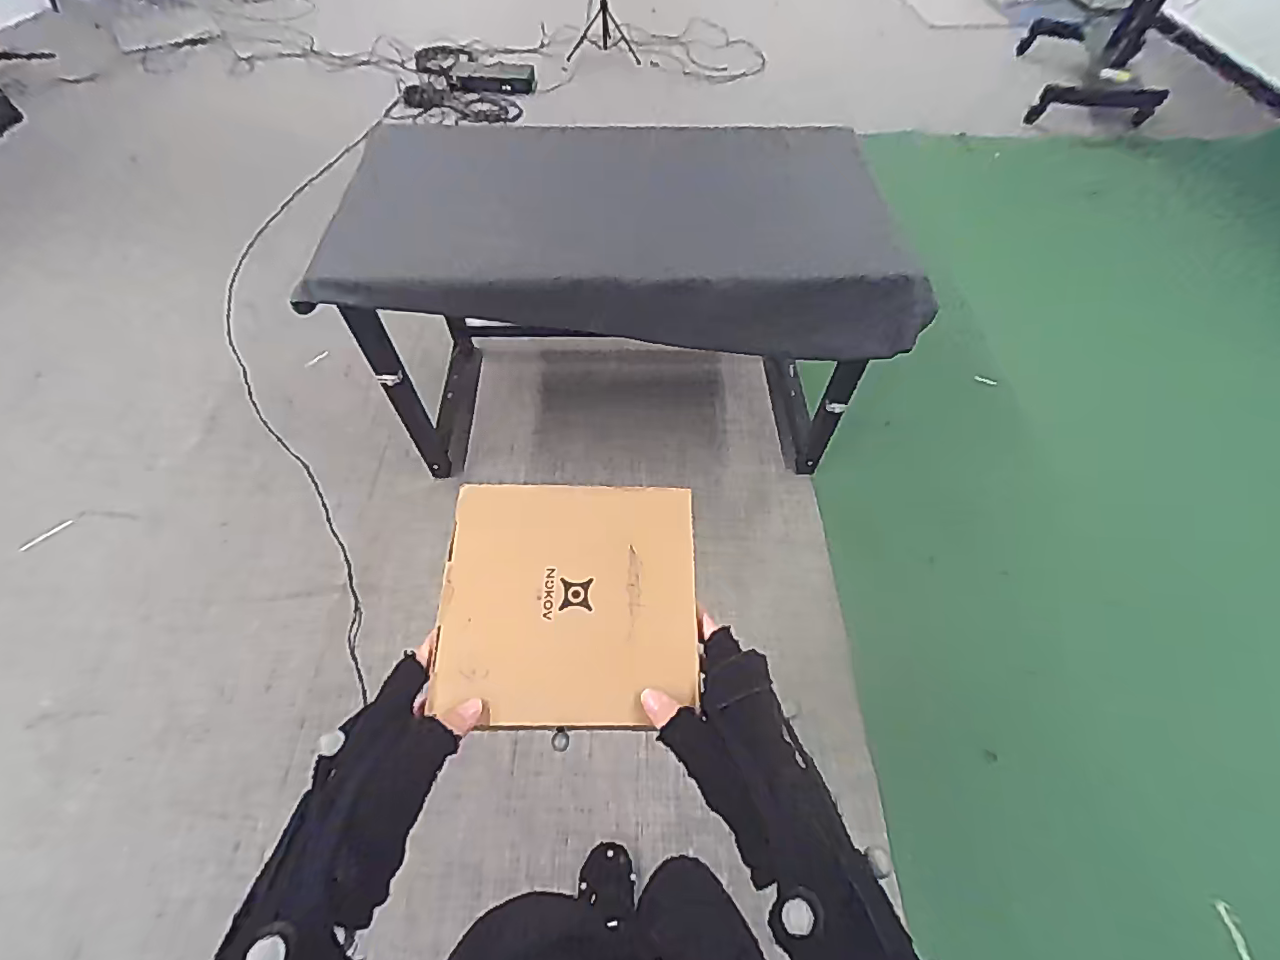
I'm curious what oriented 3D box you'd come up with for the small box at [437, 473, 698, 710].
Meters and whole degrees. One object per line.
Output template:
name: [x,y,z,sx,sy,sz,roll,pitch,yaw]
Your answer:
small box: [-0.053,0.104,0.462,0.179,0.176,0.168,1,65,-5]
